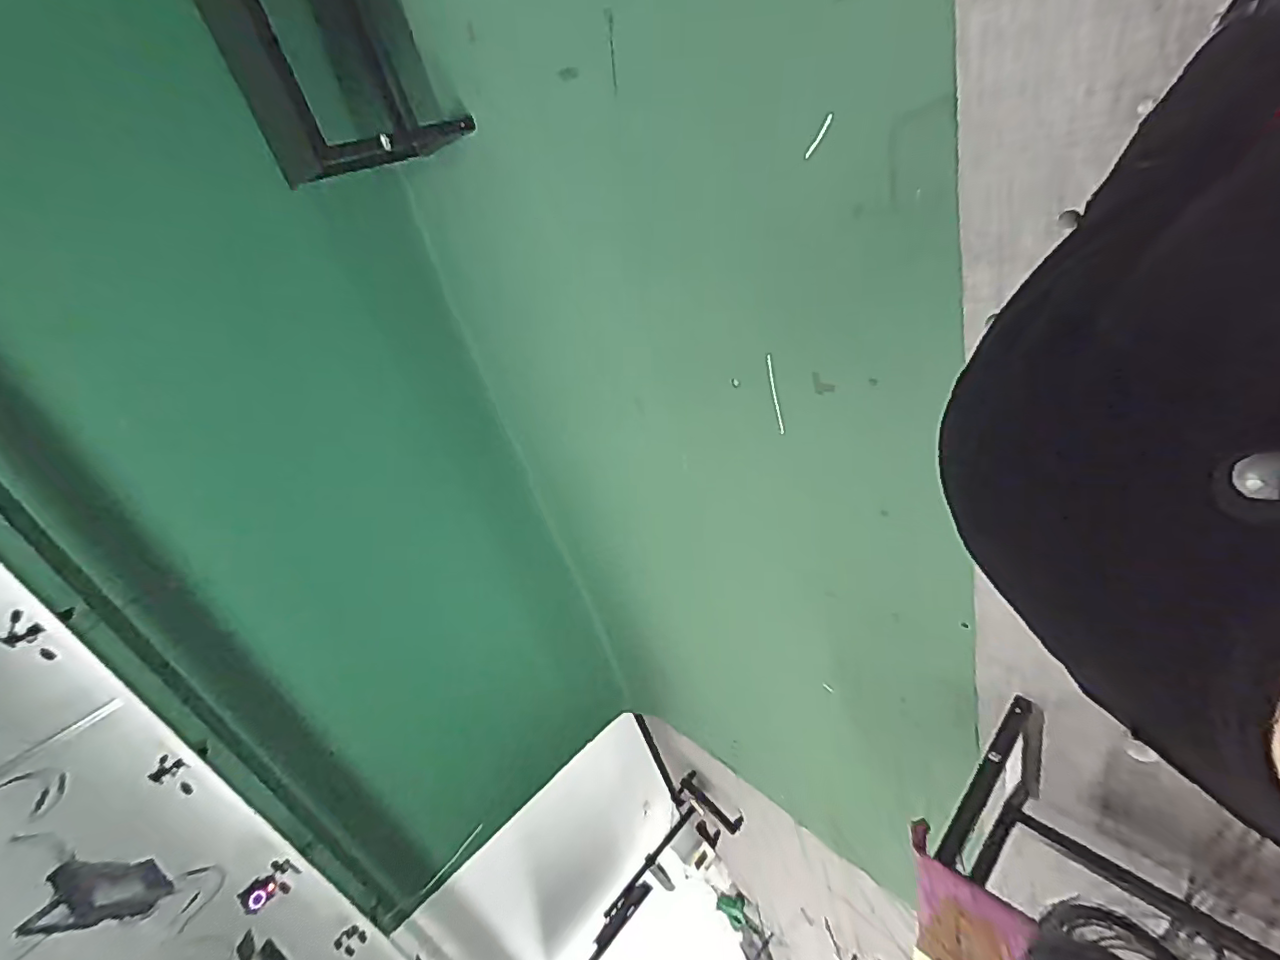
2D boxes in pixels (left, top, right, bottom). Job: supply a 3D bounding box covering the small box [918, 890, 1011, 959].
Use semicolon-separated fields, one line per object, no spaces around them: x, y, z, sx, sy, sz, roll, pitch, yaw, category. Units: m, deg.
0.872;1.264;1.455;0.168;0.176;0.179;20;134;46;small box
